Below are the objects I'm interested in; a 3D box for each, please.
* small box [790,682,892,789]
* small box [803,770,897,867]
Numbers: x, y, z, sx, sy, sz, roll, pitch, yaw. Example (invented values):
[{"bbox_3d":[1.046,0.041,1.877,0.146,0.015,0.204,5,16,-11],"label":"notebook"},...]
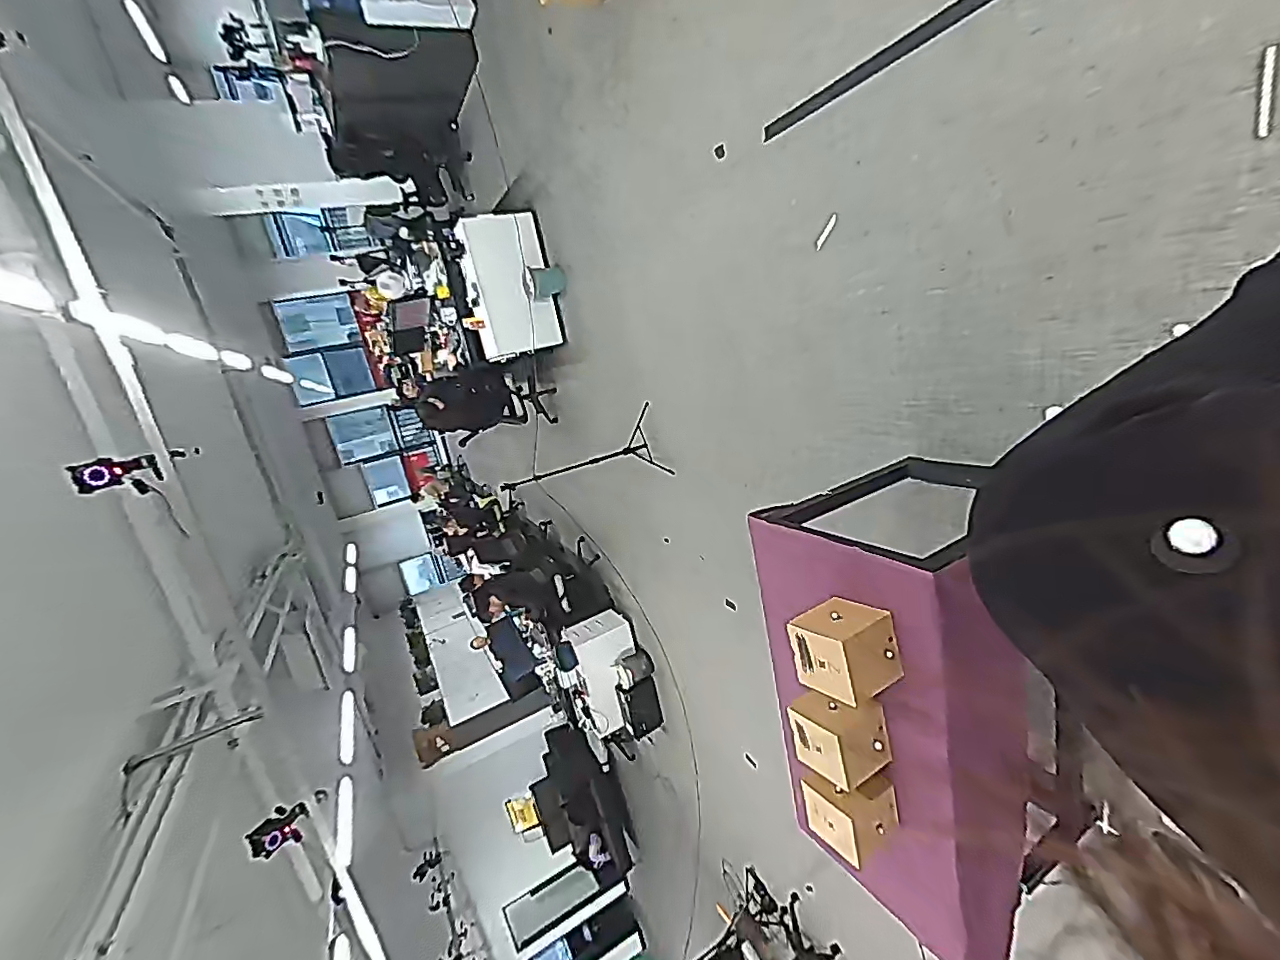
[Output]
[{"bbox_3d":[0.529,0.662,1.429,0.179,0.176,0.168,5,112,63],"label":"small box"},{"bbox_3d":[0.582,0.892,1.484,0.179,0.176,0.168,13,119,62],"label":"small box"}]
